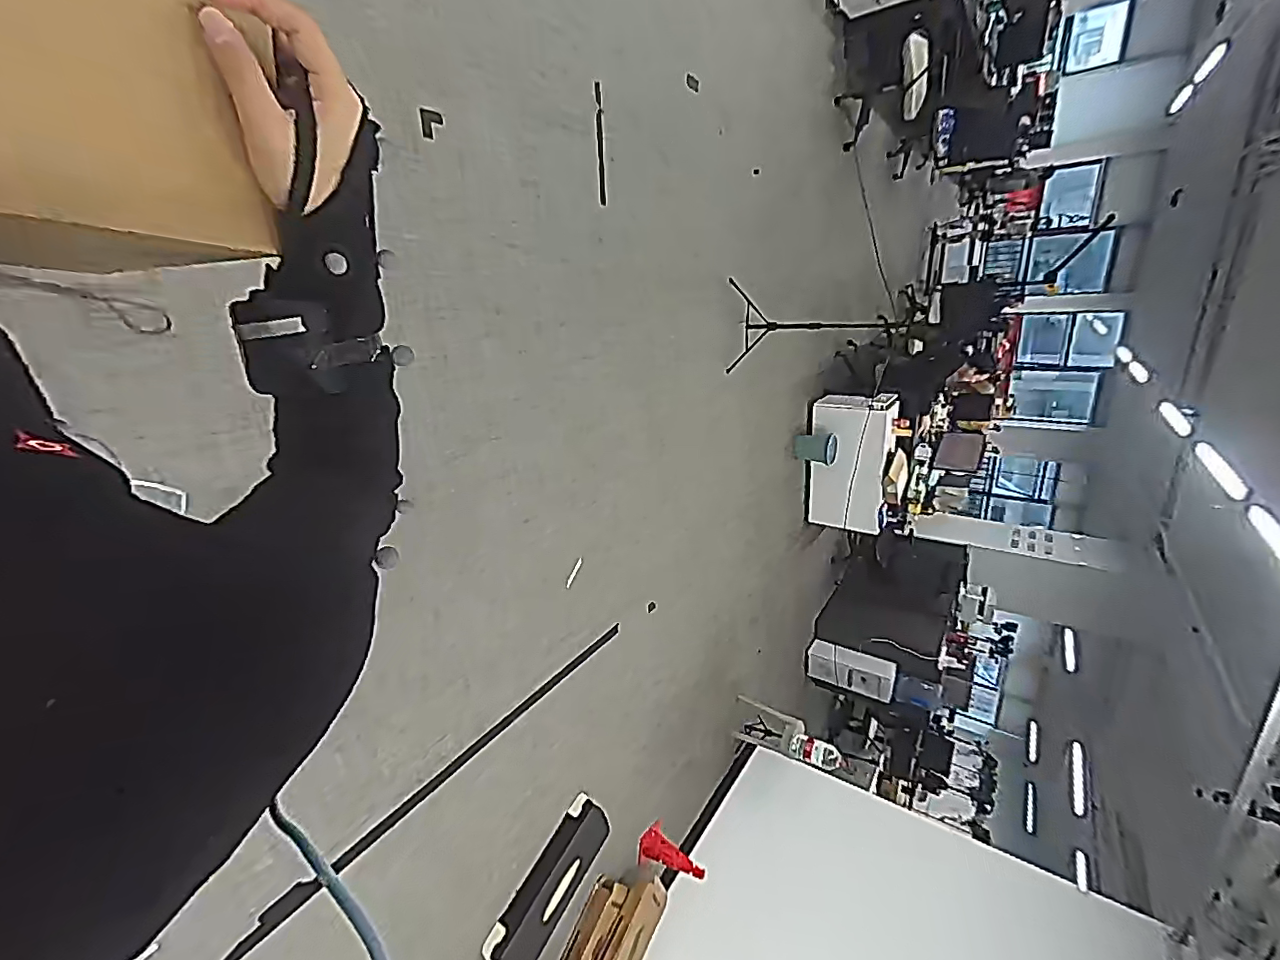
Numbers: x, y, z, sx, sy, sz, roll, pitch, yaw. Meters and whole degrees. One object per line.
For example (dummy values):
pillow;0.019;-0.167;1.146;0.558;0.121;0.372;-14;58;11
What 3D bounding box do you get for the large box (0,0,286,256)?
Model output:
large box;-0.445;-0.284;0.207;0.408;0.320;0.320;-20;117;-58
